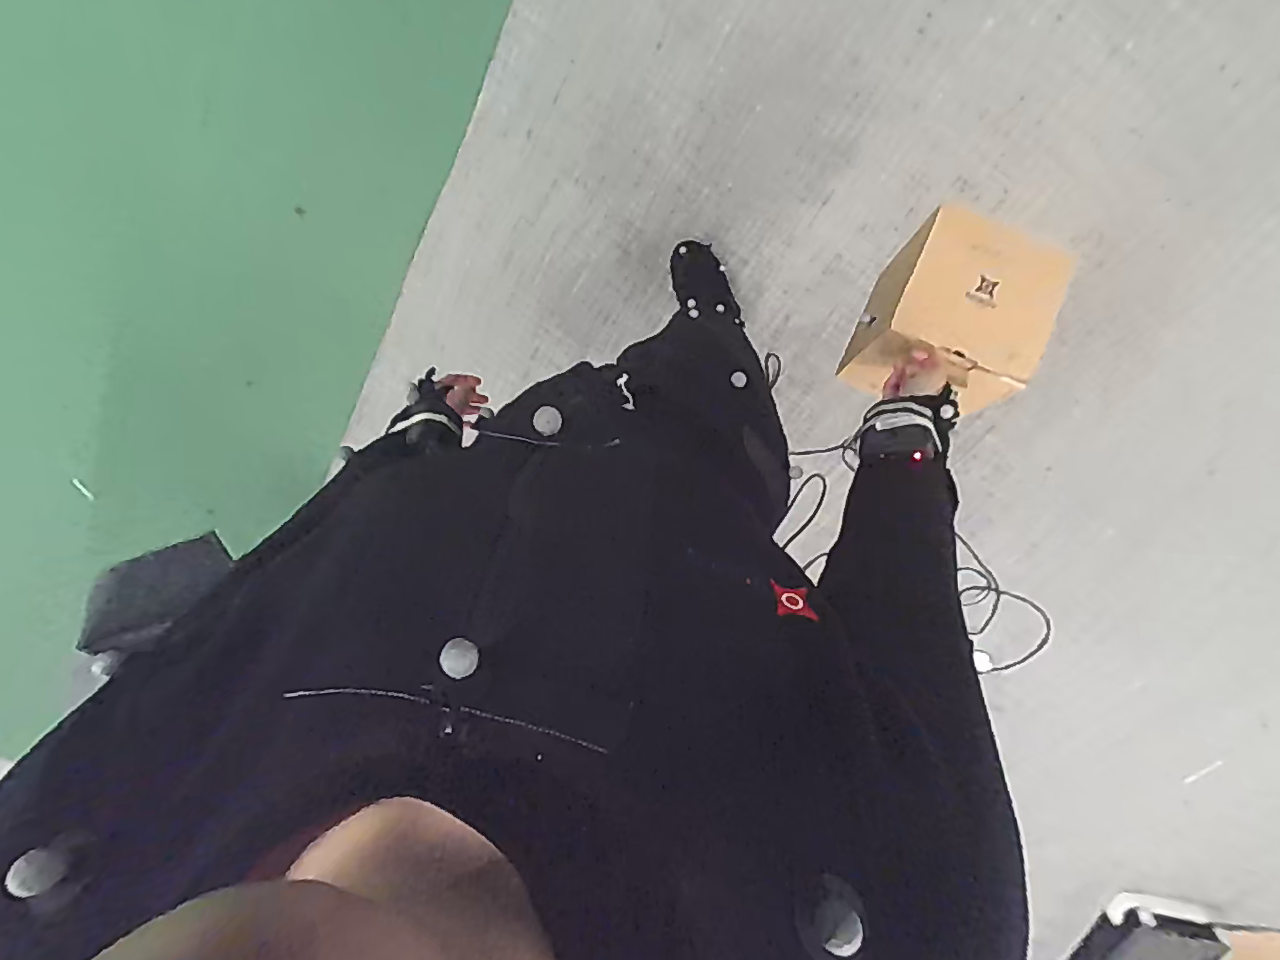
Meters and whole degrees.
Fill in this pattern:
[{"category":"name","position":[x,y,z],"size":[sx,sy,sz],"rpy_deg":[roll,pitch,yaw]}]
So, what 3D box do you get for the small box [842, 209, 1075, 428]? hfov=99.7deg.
[{"category":"small box","position":[0.381,-0.187,0.680],"size":[0.168,0.176,0.179],"rpy_deg":[26,81,2]}]
